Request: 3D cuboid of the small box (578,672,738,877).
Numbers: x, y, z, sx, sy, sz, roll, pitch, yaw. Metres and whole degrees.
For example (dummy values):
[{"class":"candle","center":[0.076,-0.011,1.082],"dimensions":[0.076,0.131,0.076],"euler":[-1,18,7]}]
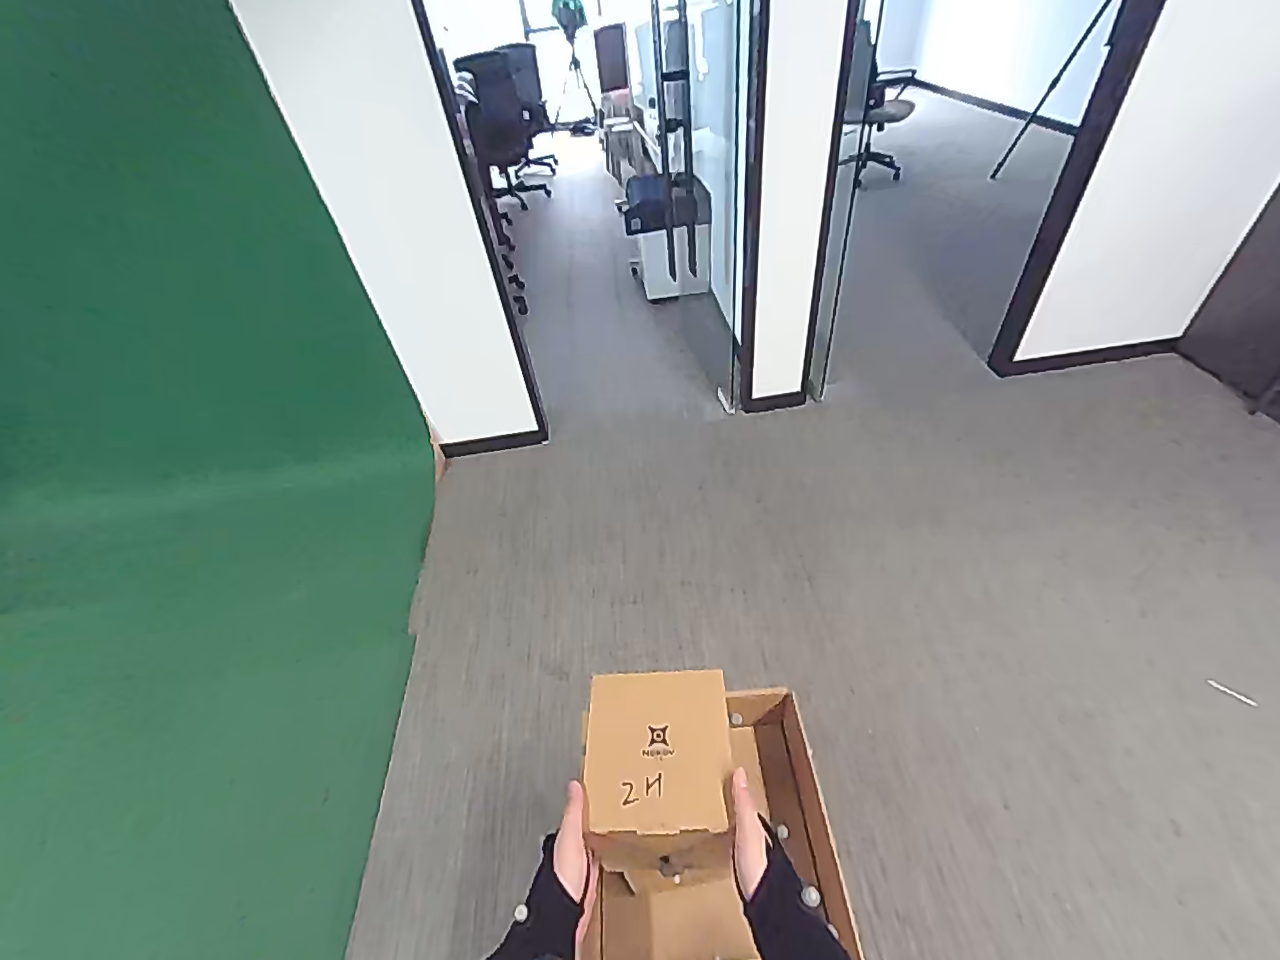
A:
[{"class":"small box","center":[0.029,0.357,0.659],"dimensions":[0.168,0.176,0.179],"euler":[-5,43,7]}]
